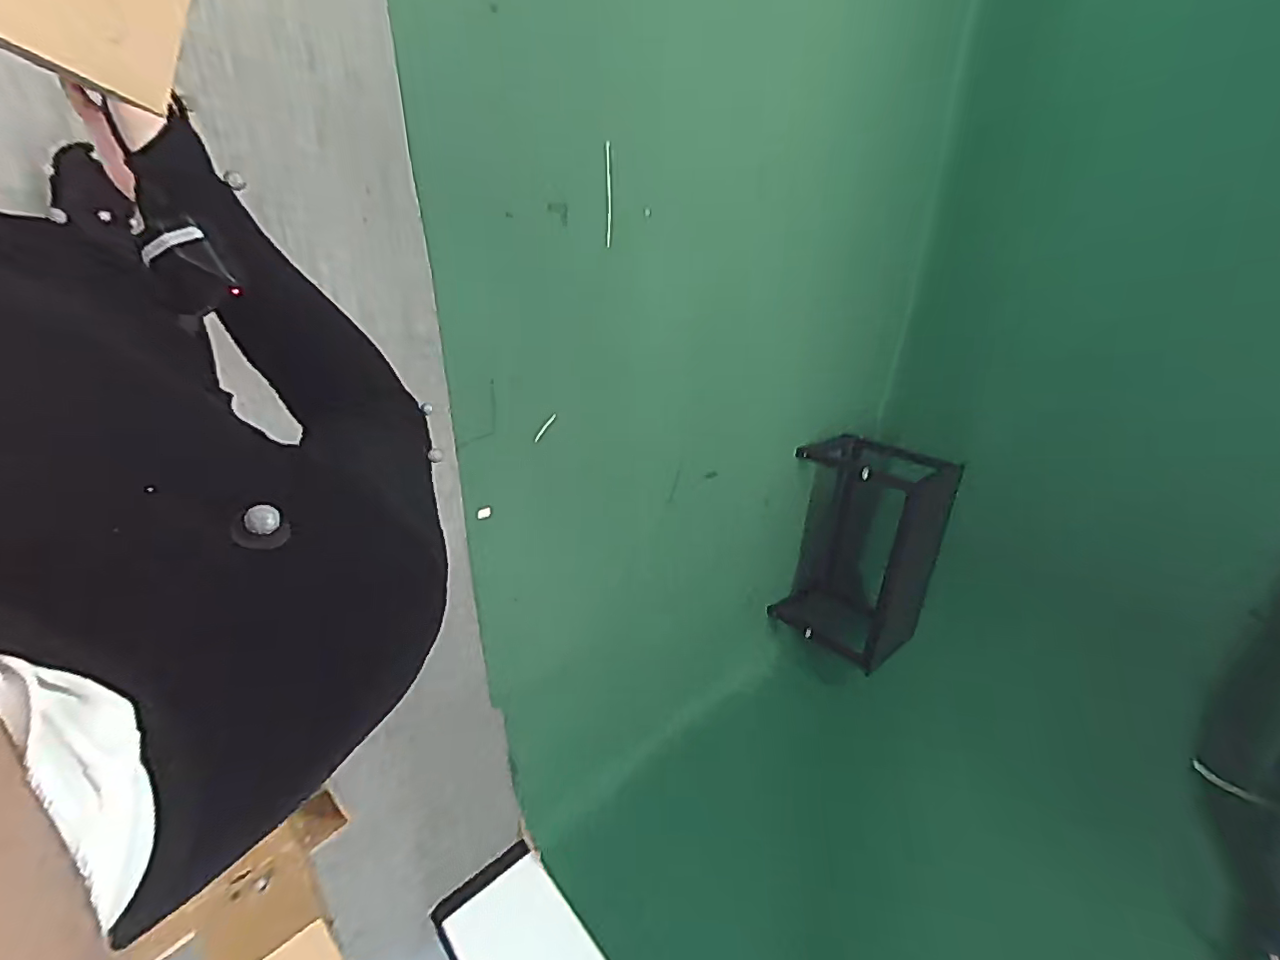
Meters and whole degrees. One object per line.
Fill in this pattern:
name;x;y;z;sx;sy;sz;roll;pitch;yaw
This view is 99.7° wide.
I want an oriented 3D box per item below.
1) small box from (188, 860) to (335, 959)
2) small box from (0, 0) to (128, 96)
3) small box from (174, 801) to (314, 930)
small box;-0.647;0.818;0.936;0.168;0.176;0.179;-22;123;-38
small box;-0.405;-0.361;0.307;0.168;0.176;0.179;8;110;-53
small box;-0.760;0.764;1.041;0.168;0.176;0.179;-23;125;-36
